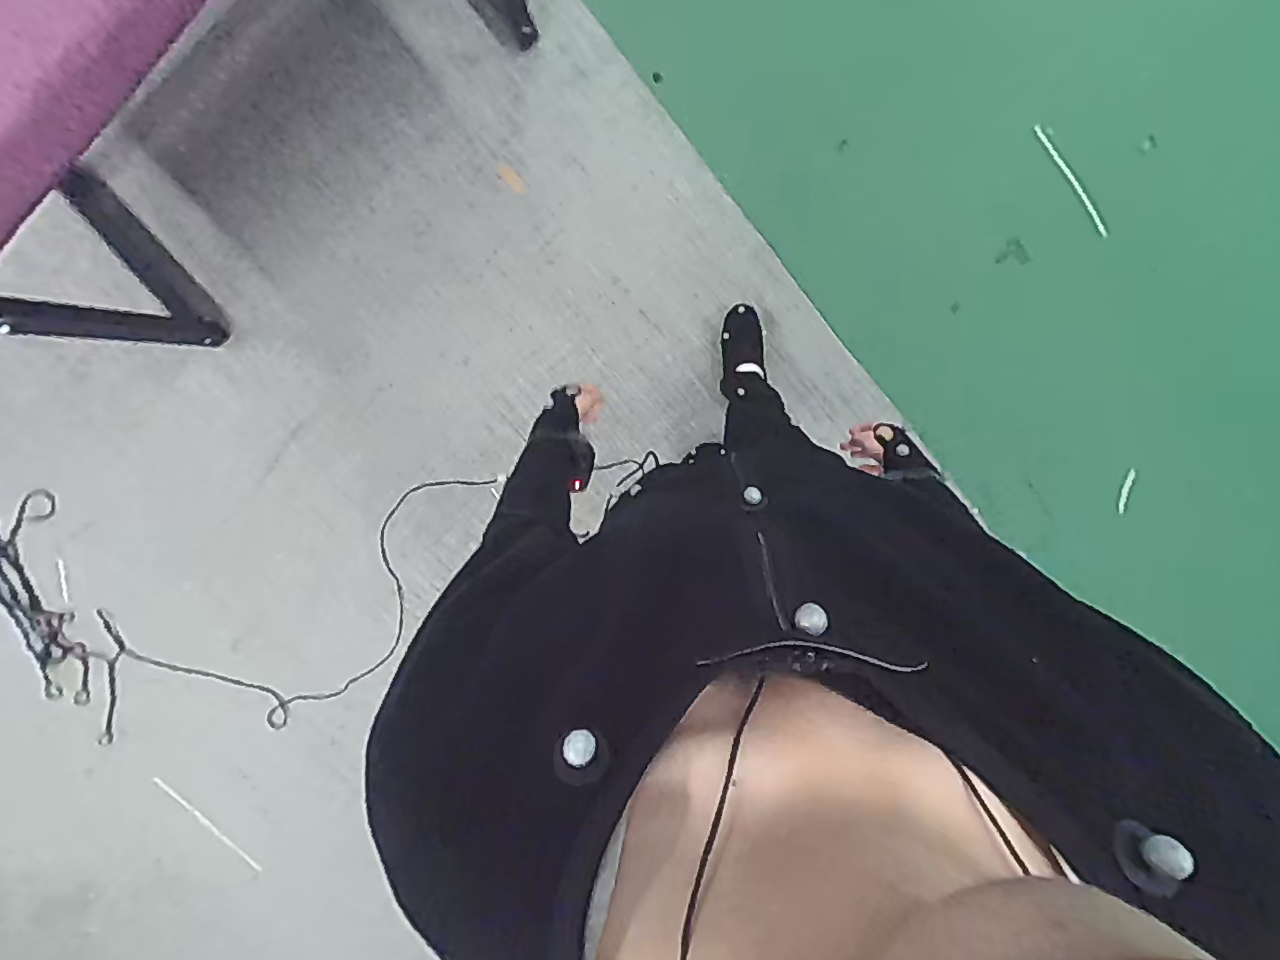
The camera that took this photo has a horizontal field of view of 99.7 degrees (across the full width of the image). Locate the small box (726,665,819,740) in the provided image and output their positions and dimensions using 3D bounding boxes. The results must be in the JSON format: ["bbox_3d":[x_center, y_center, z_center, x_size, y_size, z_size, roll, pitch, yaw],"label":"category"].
[{"bbox_3d":[0.354,0.648,1.488,0.168,0.176,0.179,45,101,-4],"label":"small box"}]

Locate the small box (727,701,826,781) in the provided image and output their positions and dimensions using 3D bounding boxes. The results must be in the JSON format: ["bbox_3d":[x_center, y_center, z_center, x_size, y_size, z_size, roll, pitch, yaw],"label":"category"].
[{"bbox_3d":[0.331,0.677,1.328,0.168,0.176,0.179,-40,95,10],"label":"small box"}]
